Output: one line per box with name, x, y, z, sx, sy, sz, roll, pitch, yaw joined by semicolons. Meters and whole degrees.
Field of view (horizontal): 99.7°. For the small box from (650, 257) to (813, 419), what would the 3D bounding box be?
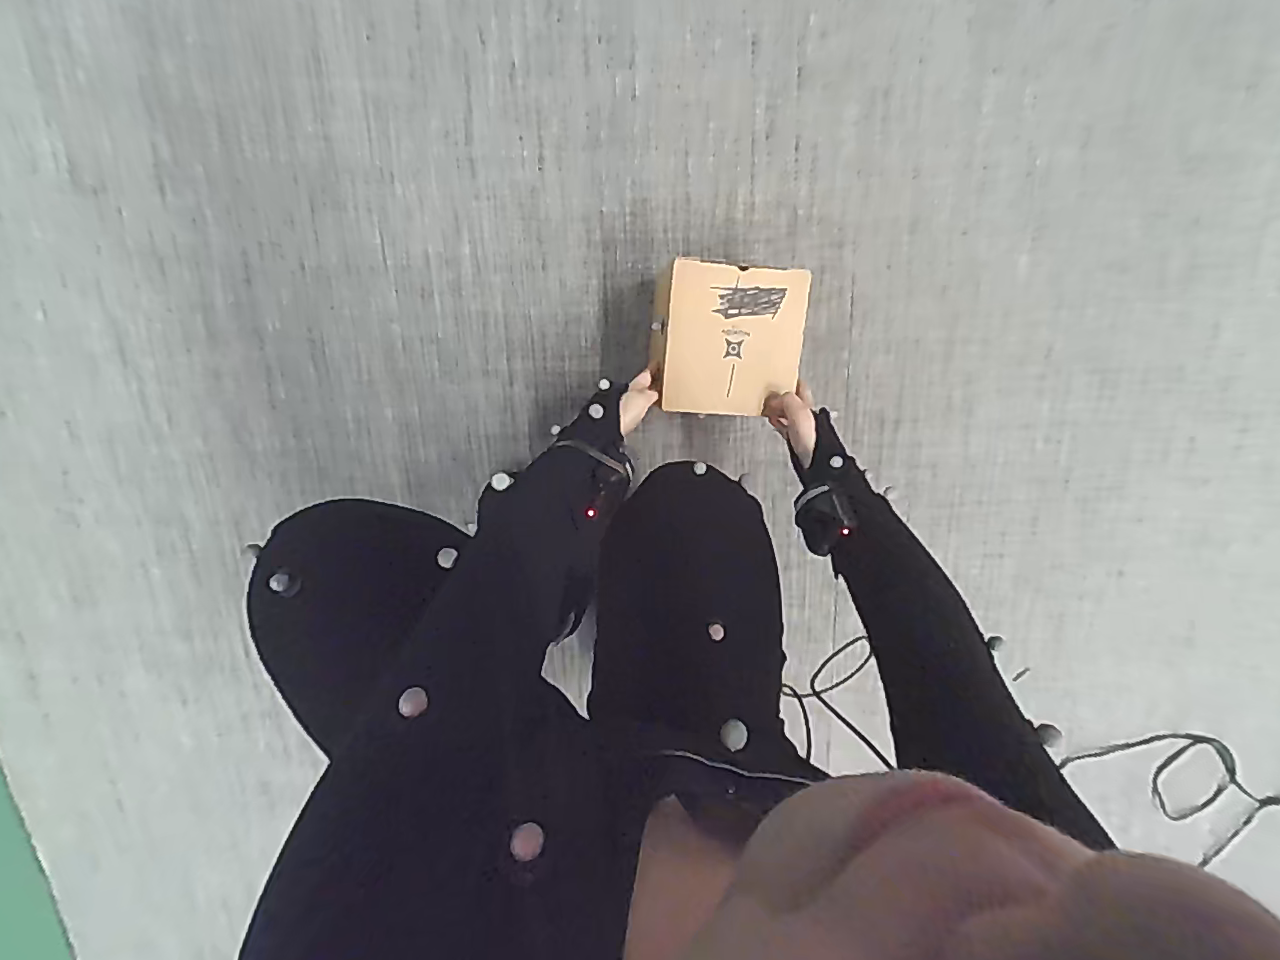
small box;0.107;-0.182;0.715;0.168;0.176;0.179;2;104;-7
